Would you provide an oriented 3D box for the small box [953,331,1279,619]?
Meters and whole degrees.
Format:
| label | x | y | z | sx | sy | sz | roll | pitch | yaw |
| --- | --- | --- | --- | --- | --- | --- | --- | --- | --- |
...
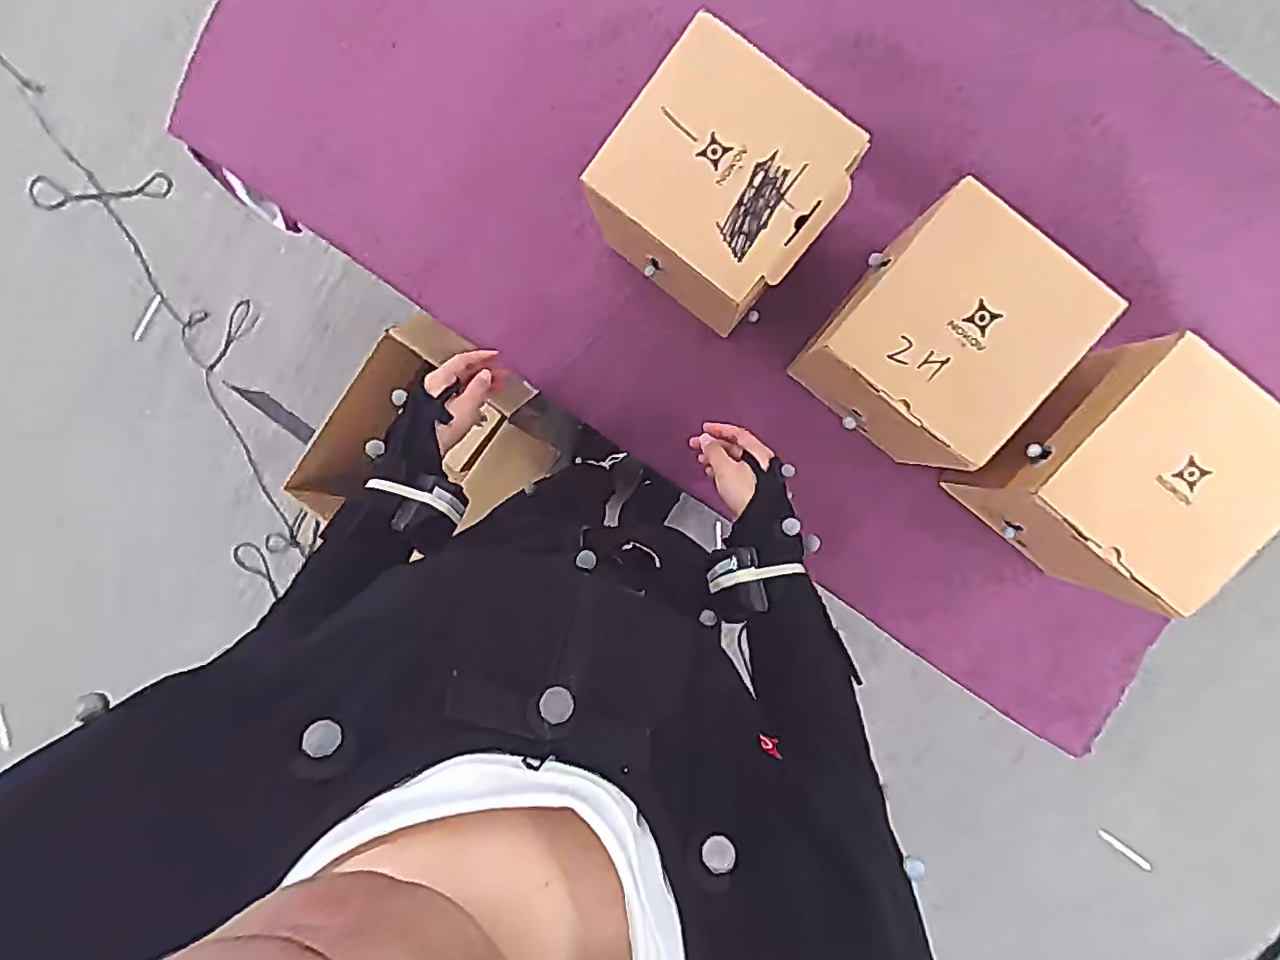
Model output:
| label | x | y | z | sx | sy | sz | roll | pitch | yaw |
| --- | --- | --- | --- | --- | --- | --- | --- | --- | --- |
| small box | 0.447 | -0.008 | 0.511 | 0.168 | 0.176 | 0.179 | 40 | 97 | 1 |

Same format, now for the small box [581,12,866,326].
| label | x | y | z | sx | sy | sz | roll | pitch | yaw |
| --- | --- | --- | --- | --- | --- | --- | --- | --- | --- |
| small box | 0.074 | -0.269 | 0.522 | 0.179 | 0.176 | 0.168 | 40 | 98 | 2 |
